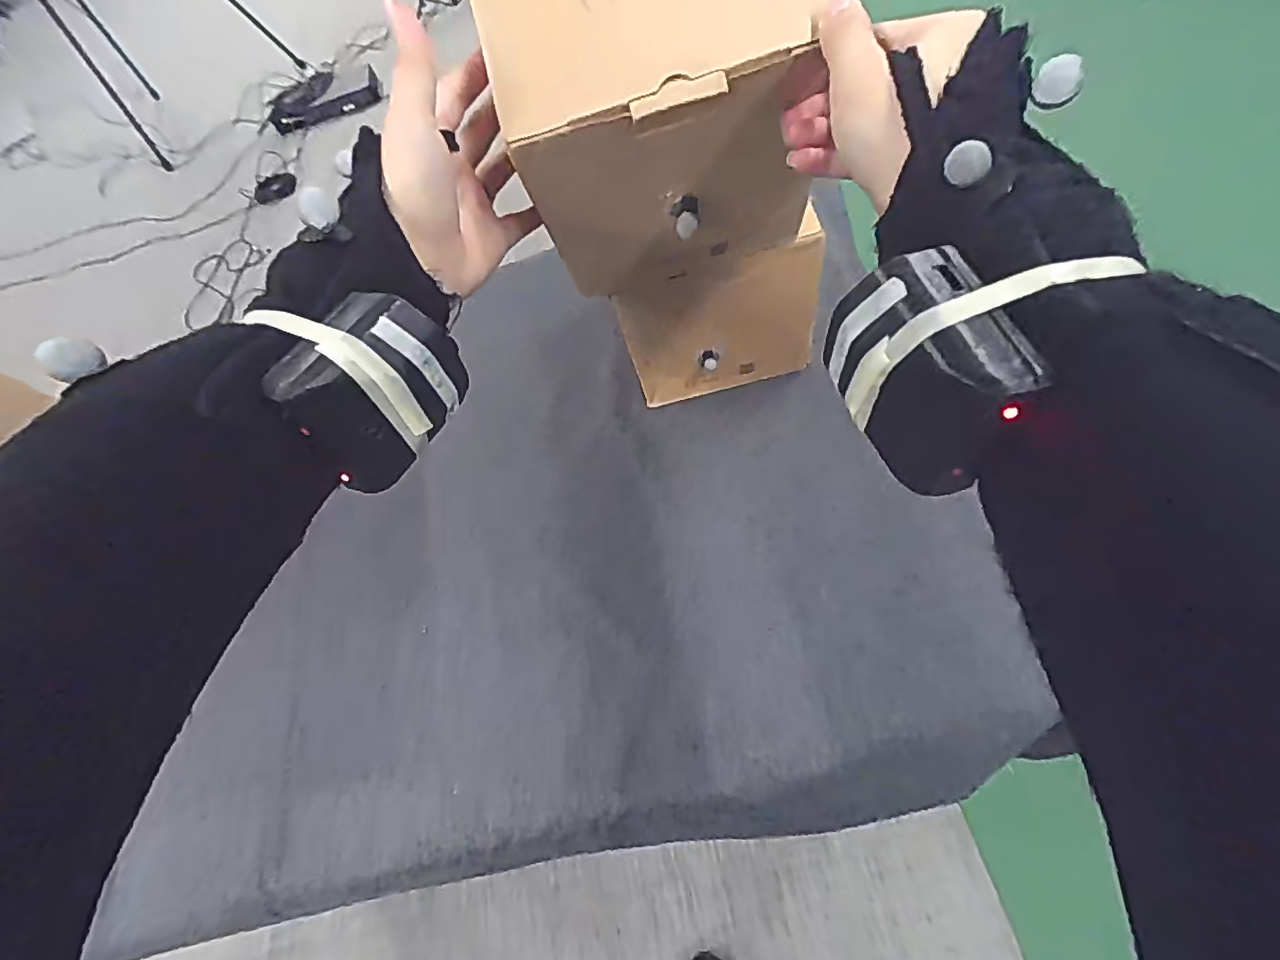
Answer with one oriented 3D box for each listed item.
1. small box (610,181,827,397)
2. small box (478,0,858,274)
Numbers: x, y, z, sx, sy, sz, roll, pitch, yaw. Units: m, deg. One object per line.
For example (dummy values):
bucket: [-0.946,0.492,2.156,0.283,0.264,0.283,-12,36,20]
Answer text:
small box: [0.059,-0.207,0.507,0.168,0.176,0.179,-13,65,6]
small box: [0.010,-0.249,0.330,0.168,0.176,0.179,-14,84,6]
